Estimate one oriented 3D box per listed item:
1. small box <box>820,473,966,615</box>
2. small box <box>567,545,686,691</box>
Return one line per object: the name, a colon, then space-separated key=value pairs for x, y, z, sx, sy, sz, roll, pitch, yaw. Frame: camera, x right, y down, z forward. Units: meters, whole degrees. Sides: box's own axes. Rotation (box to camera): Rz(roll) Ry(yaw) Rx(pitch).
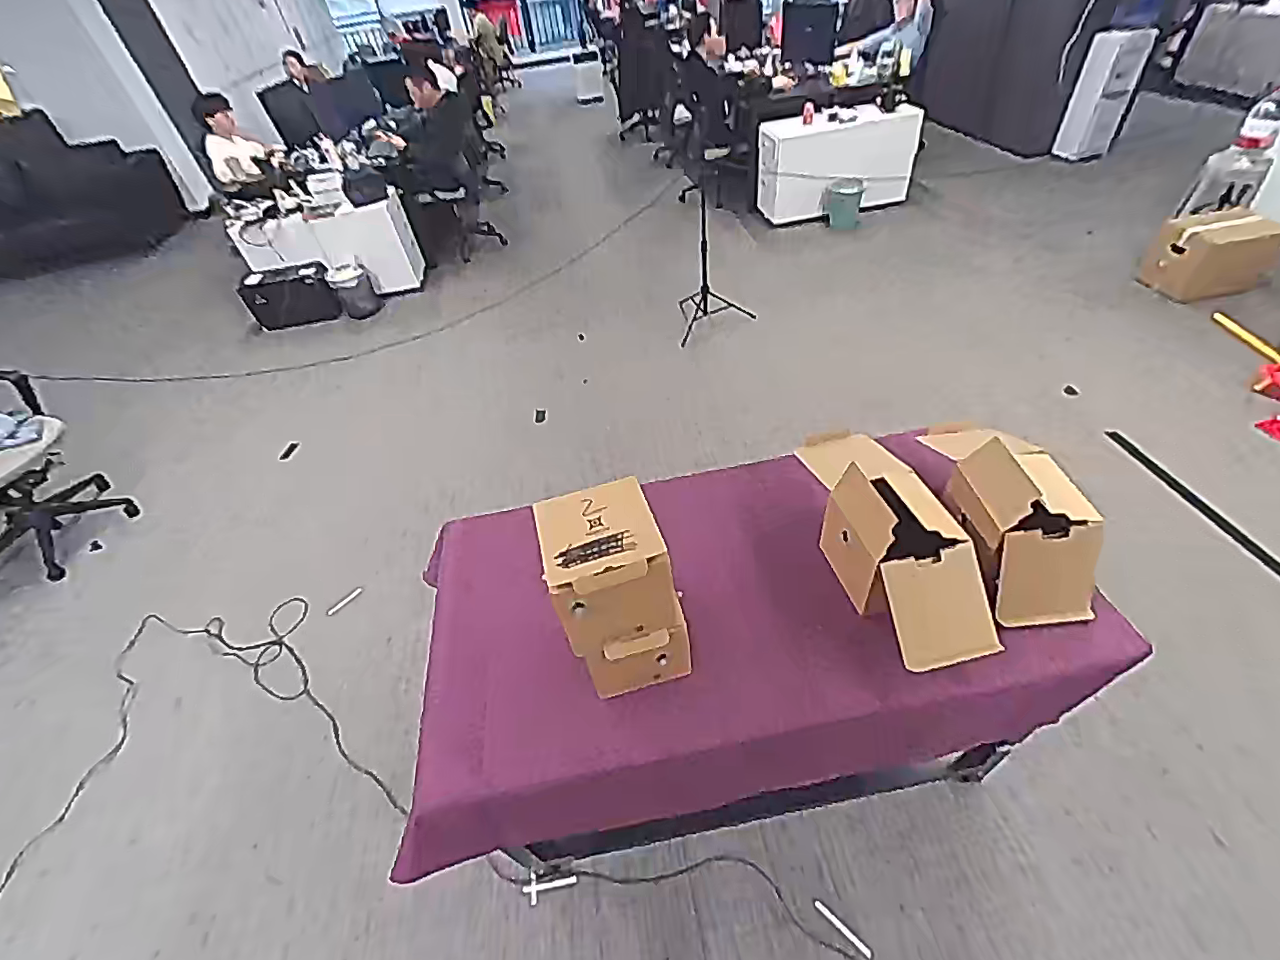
small box: x=0.447 y=0.118 z=0.994 sx=0.168 sy=0.176 sz=0.179 roll=-13 pitch=45 yaw=-3
small box: x=-0.021 y=0.246 z=0.943 sx=0.168 sy=0.176 sz=0.179 roll=-14 pitch=45 yaw=-5
